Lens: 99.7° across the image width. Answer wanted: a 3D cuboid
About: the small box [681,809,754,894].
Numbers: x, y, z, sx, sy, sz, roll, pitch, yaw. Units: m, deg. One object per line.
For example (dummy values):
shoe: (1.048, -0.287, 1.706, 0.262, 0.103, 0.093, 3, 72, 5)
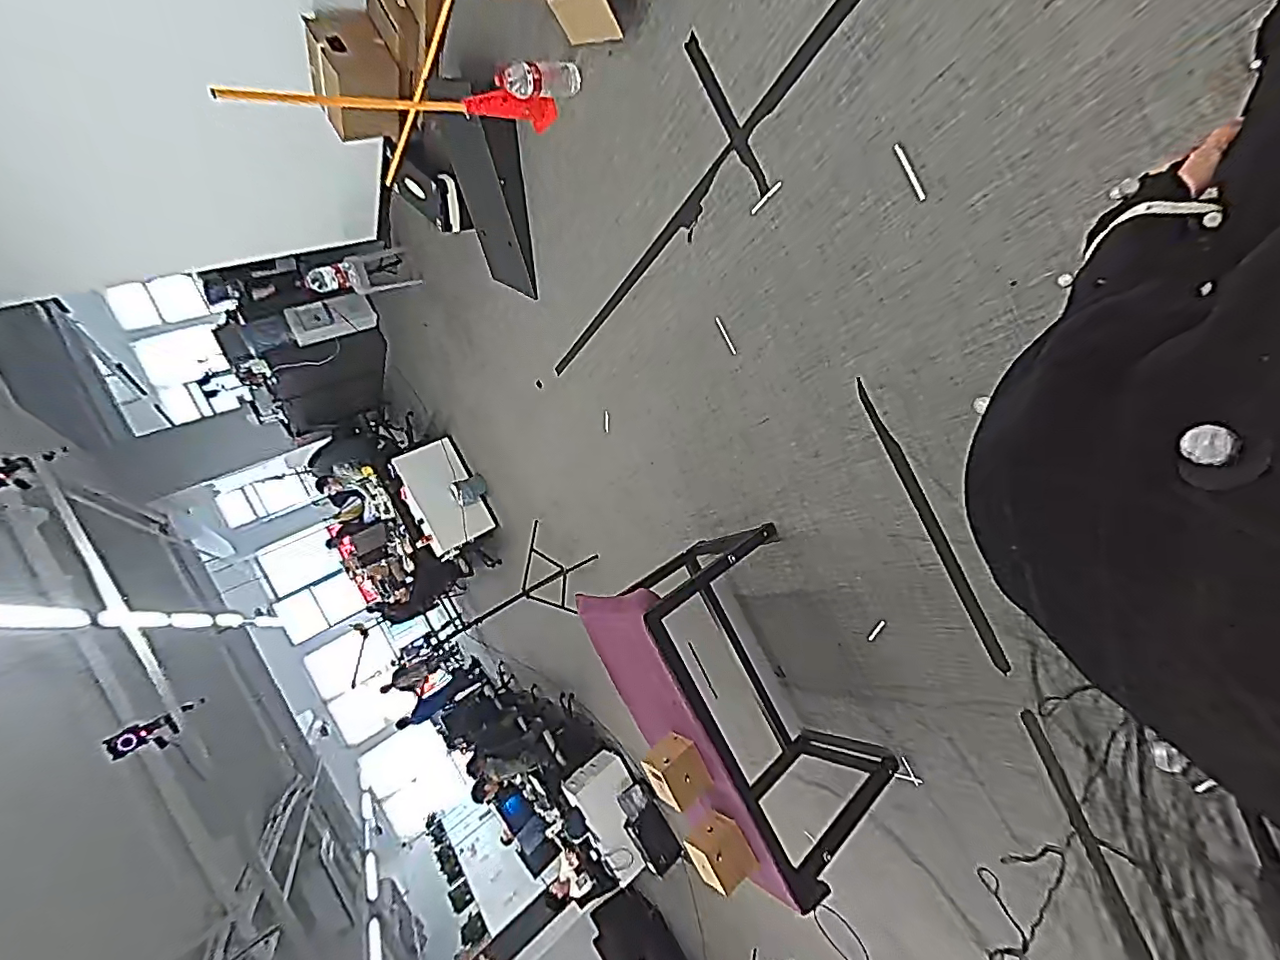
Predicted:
small box: (0.291, 1.381, 2.027, 0.179, 0.176, 0.168, 61, 151, 1)
